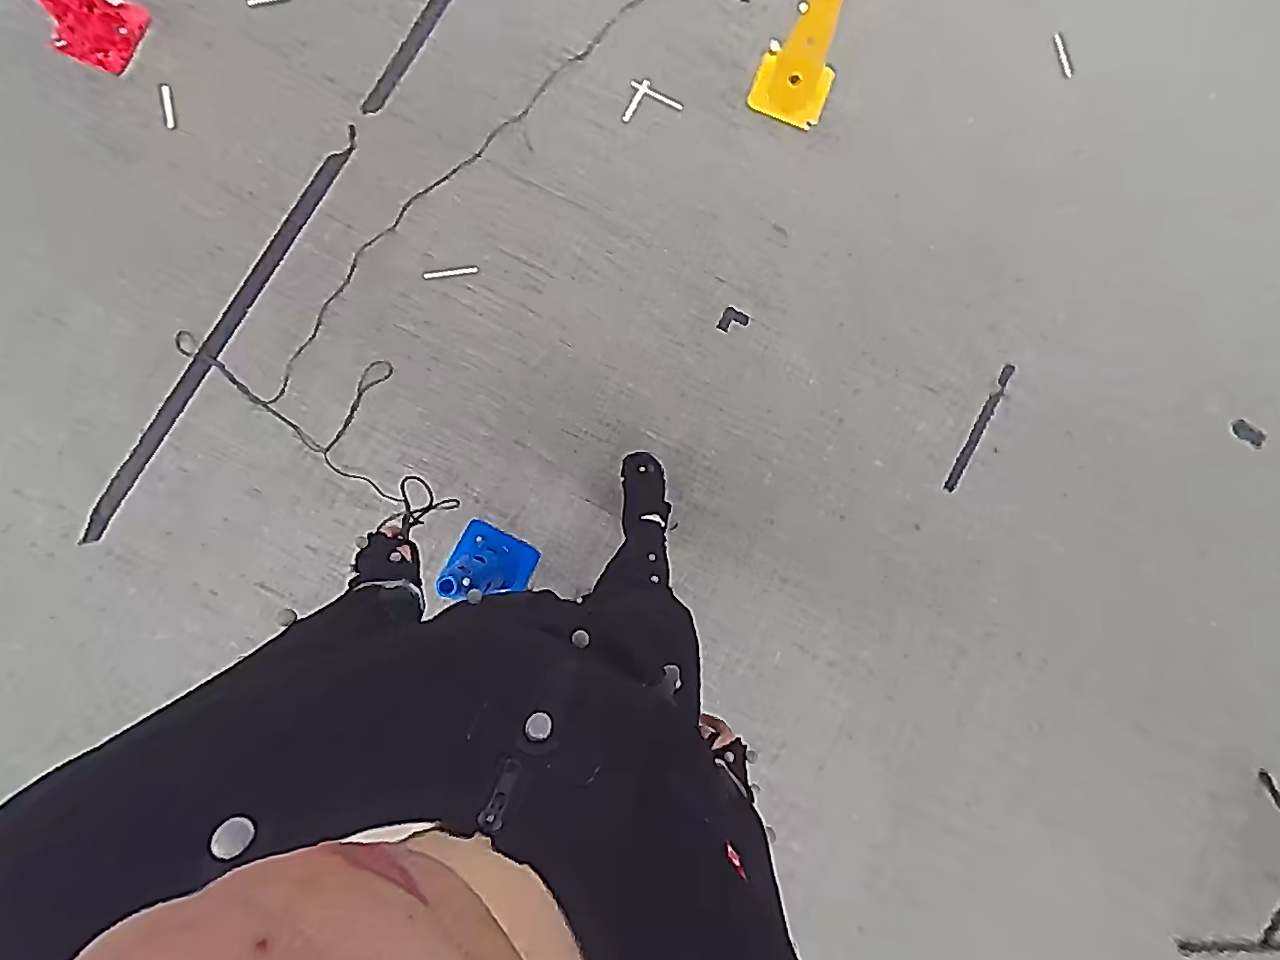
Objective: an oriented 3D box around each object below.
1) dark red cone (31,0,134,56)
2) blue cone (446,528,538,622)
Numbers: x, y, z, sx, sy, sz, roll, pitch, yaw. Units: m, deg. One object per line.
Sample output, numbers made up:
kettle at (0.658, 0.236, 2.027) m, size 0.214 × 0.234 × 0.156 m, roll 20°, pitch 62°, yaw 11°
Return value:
dark red cone at (-1.395, -1.200, 1.206) m, size 0.201 × 0.394 × 0.202 m, roll 21°, pitch 84°, yaw -2°
blue cone at (-0.355, 0.220, 1.169) m, size 0.192 × 0.380 × 0.193 m, roll 29°, pitch 84°, yaw -1°
